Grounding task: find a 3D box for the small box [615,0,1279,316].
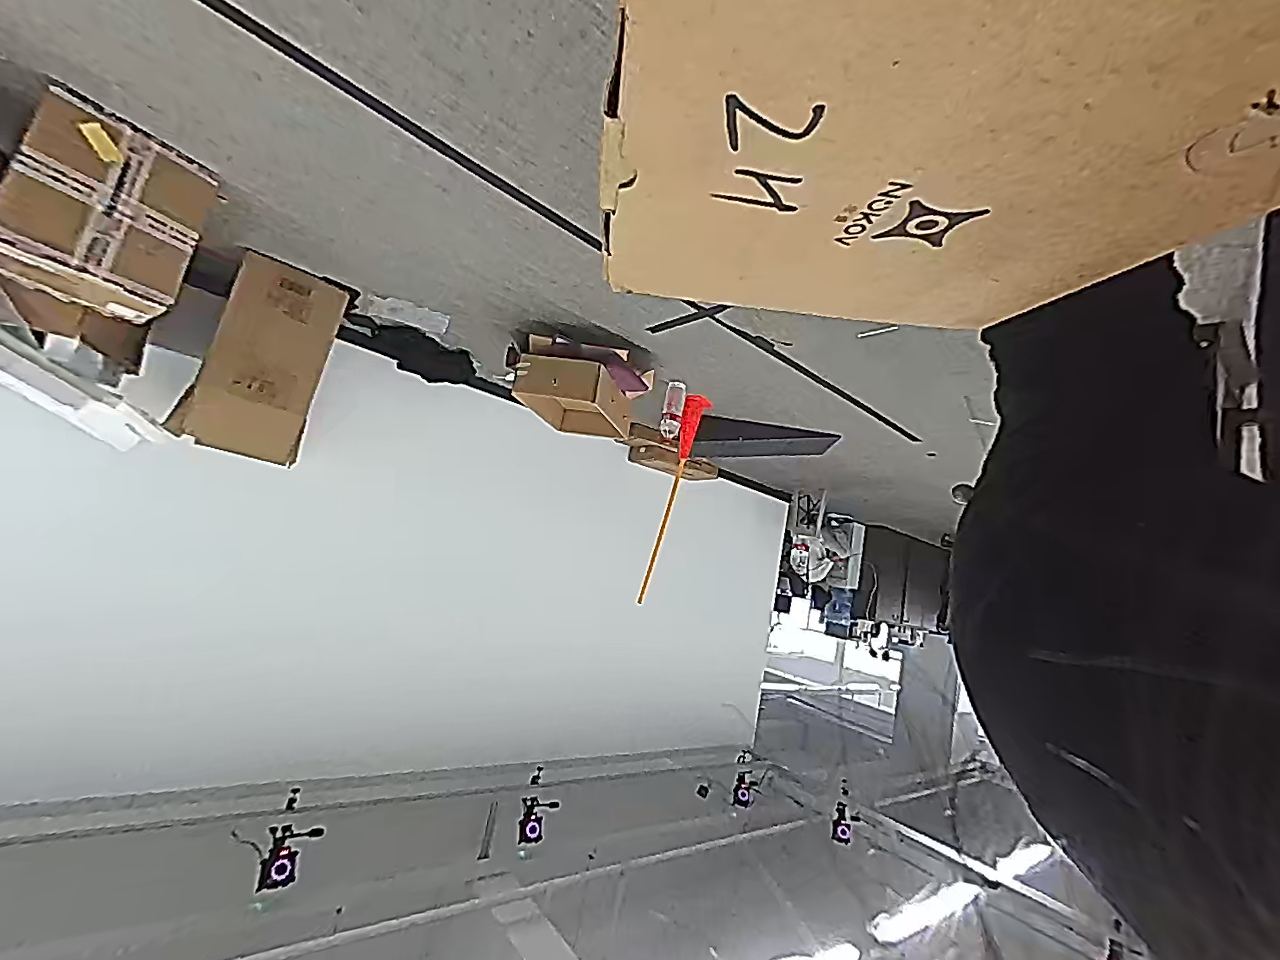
[{"bbox_3d":[0.090,-0.166,0.167,0.179,0.176,0.168,6,178,-5],"label":"small box"}]
